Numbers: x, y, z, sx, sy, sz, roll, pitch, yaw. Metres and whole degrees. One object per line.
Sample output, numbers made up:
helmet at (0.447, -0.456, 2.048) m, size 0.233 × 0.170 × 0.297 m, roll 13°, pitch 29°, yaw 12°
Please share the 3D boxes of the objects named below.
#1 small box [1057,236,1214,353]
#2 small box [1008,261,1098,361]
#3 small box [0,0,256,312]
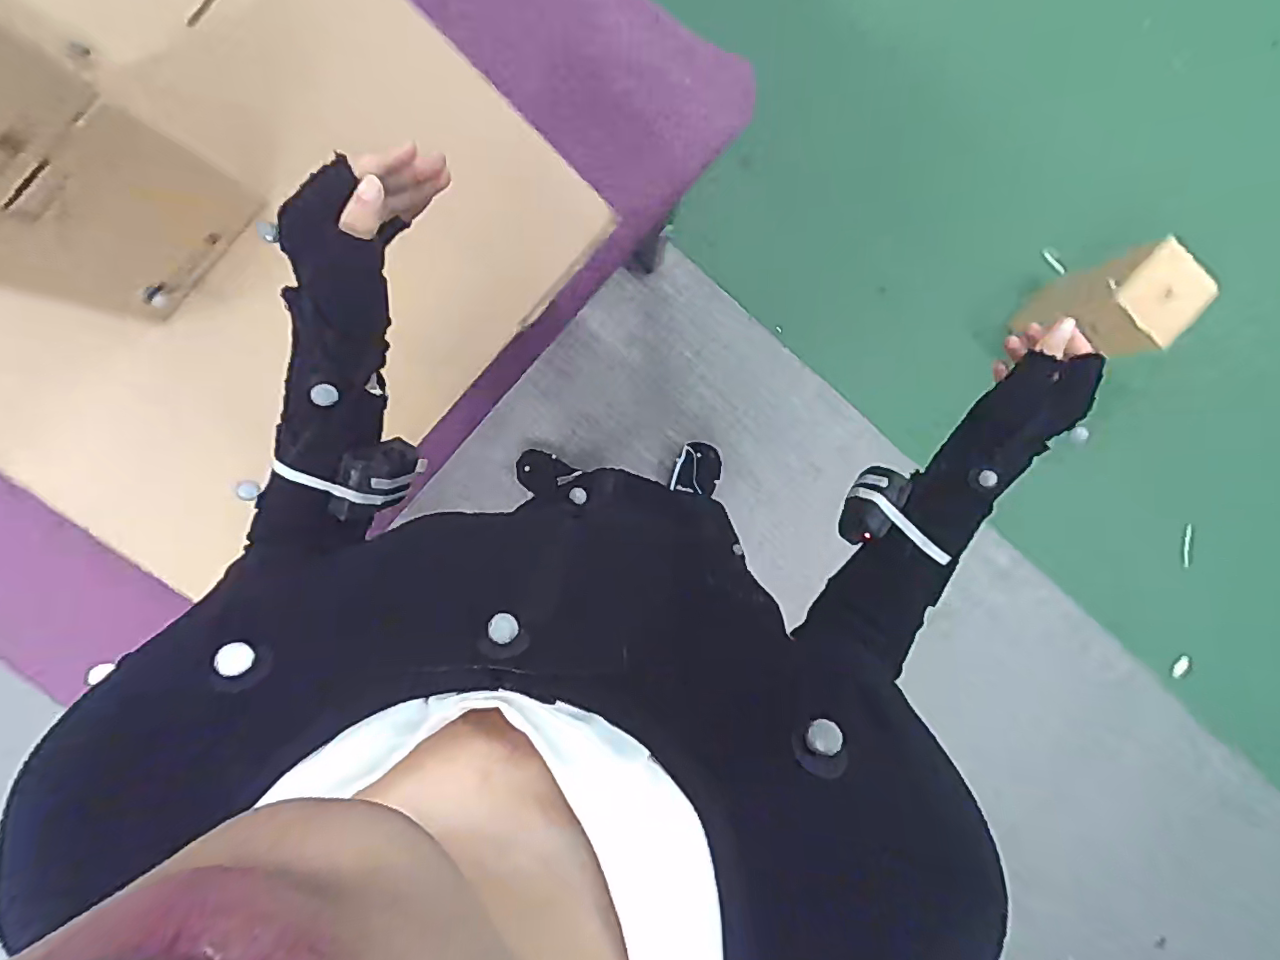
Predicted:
small box at (1.129, -0.418, 1.248) m, size 0.168 × 0.176 × 0.179 m, roll 40°, pitch 93°, yaw -7°
small box at (1.122, -0.433, 1.410) m, size 0.168 × 0.176 × 0.179 m, roll 42°, pitch 93°, yaw -6°
small box at (-0.475, -0.259, 0.441) m, size 0.179 × 0.176 × 0.168 m, roll 43°, pitch 93°, yaw -4°
